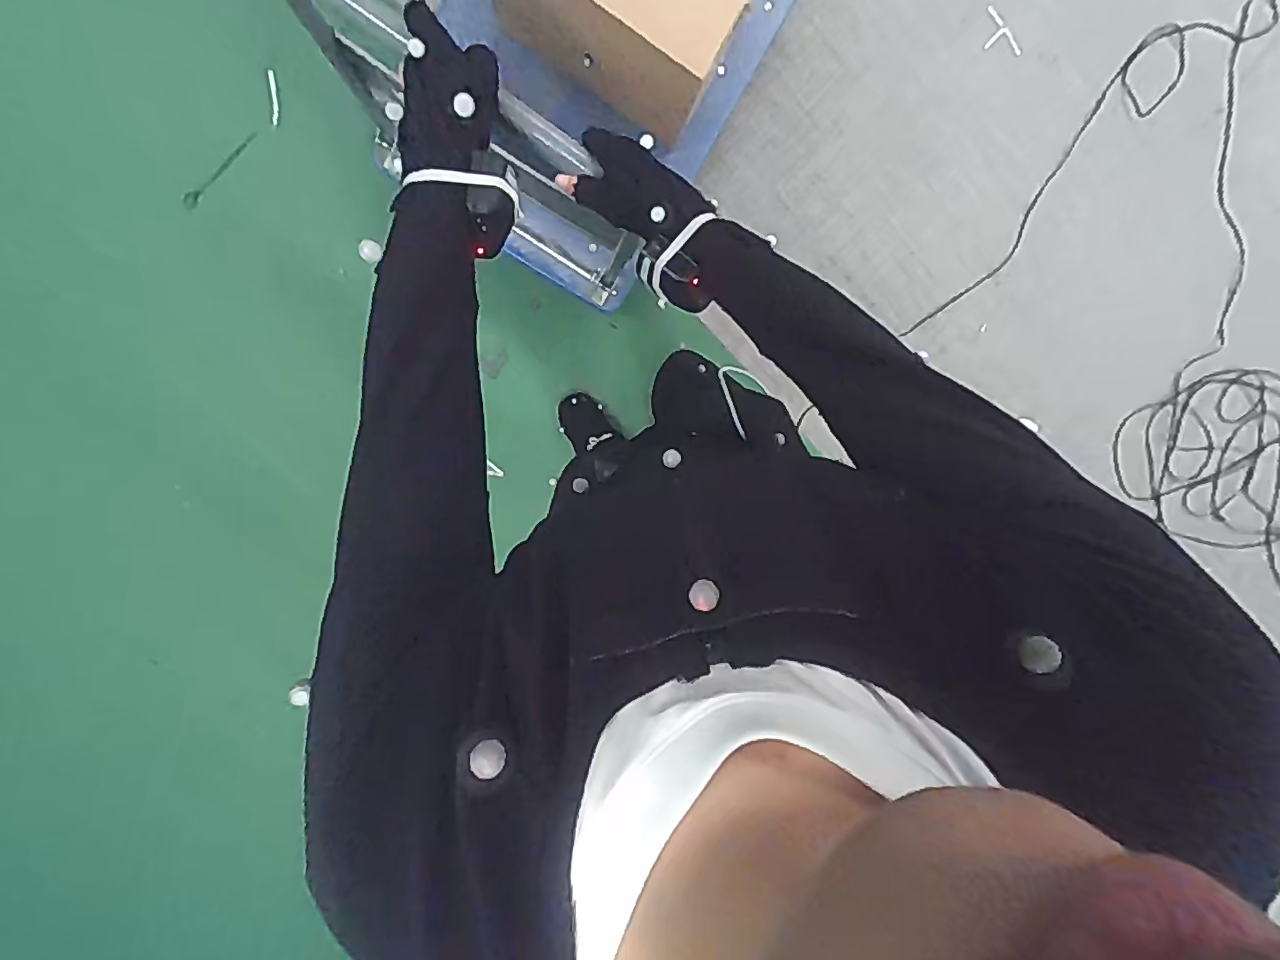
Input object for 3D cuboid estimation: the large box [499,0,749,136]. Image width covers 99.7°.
[{"bbox_3d":[-0.009,-0.892,0.924,0.408,0.320,0.320,28,99,-11],"label":"large box"}]
